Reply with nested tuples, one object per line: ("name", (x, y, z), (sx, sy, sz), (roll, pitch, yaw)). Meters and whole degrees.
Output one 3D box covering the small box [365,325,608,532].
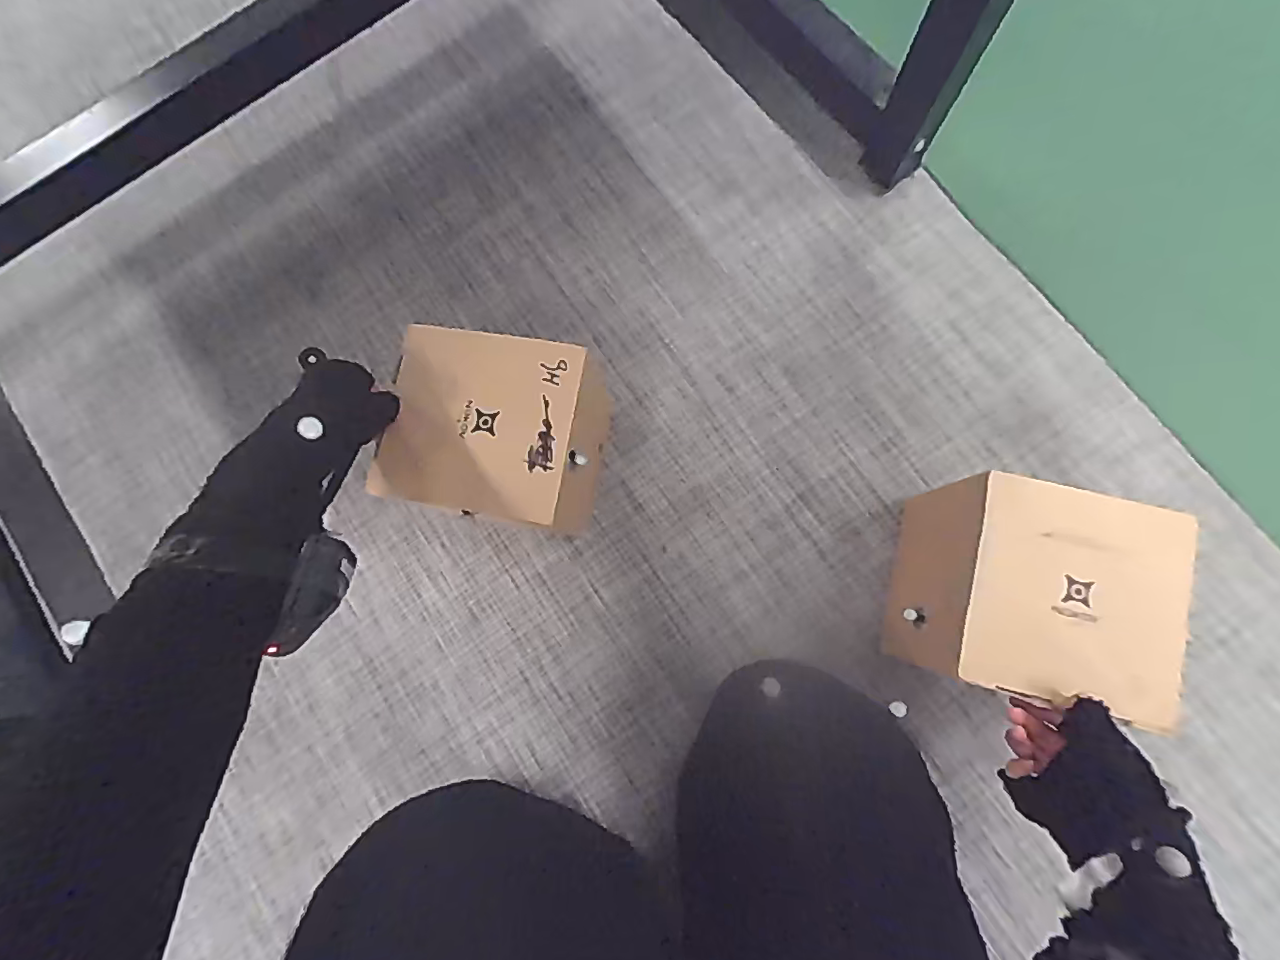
("small box", (-0.142, -0.041, 0.566), (0.179, 0.176, 0.168), (9, 82, 6))
